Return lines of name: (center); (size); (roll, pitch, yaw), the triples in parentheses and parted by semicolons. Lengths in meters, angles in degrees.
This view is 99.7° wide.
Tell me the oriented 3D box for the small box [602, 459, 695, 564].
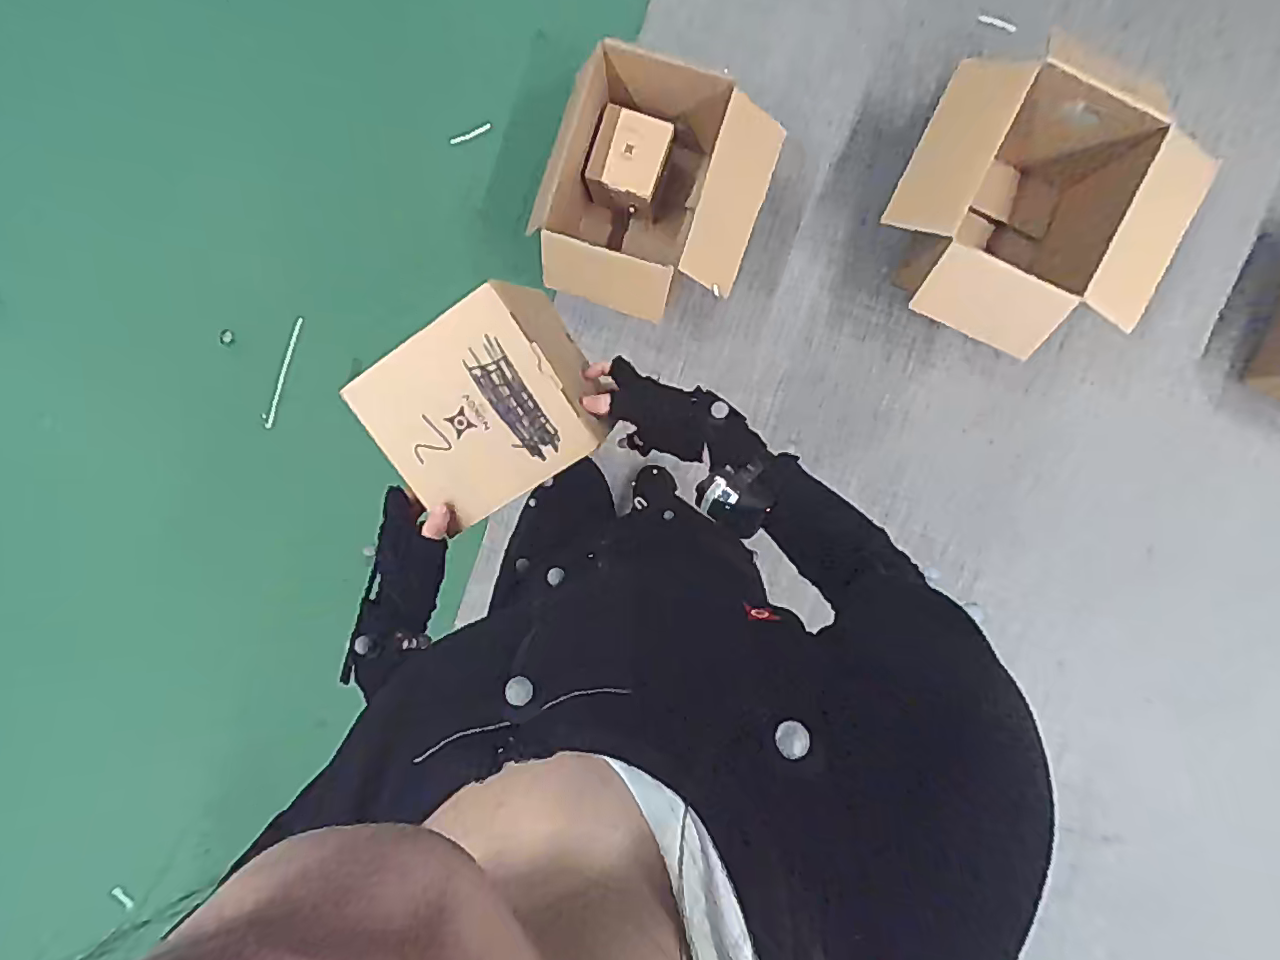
small box: (0.020, 0.085, 1.408); (0.179, 0.176, 0.168); (-37, 63, -19)
